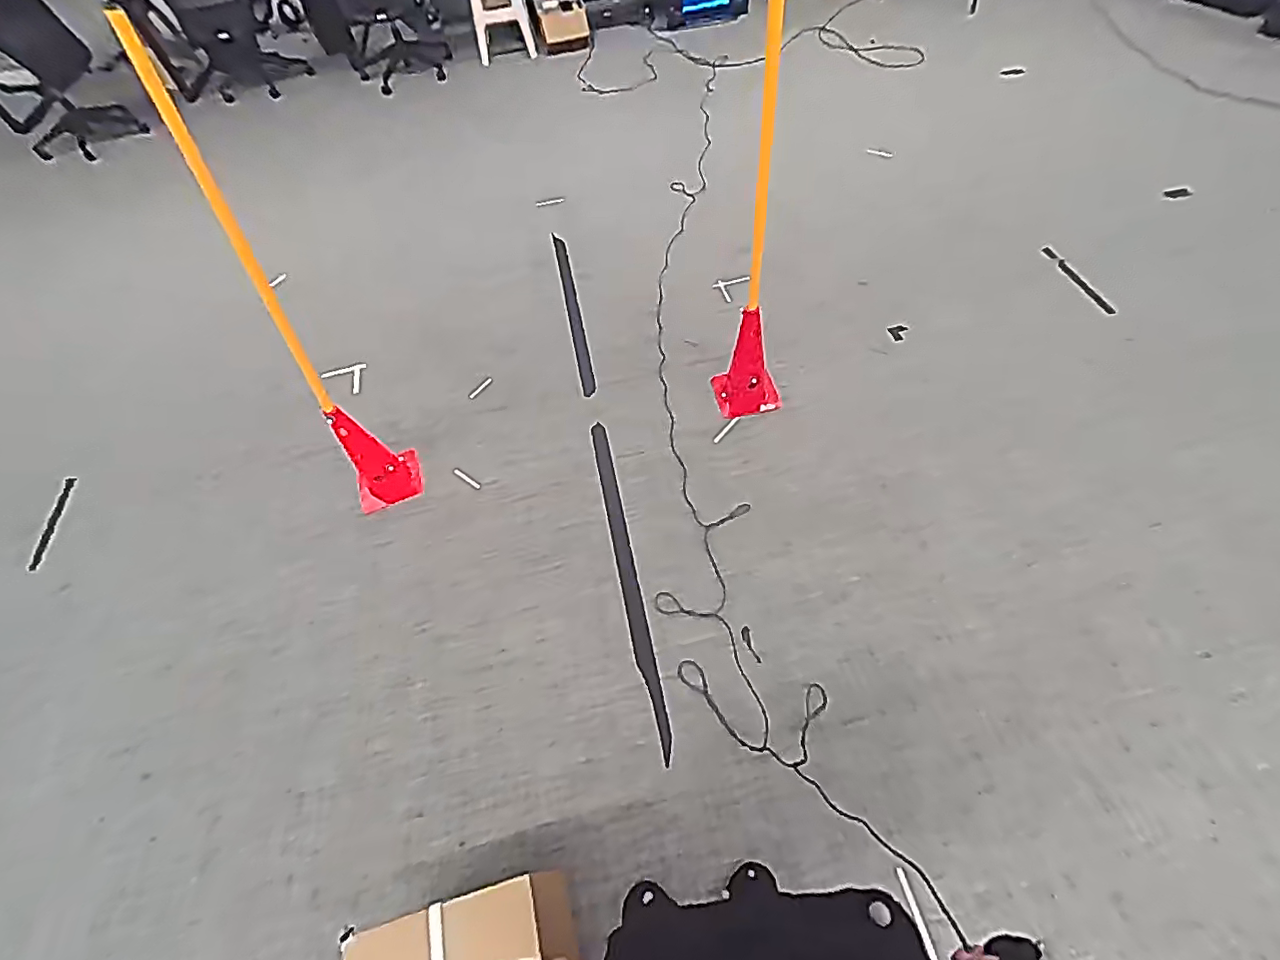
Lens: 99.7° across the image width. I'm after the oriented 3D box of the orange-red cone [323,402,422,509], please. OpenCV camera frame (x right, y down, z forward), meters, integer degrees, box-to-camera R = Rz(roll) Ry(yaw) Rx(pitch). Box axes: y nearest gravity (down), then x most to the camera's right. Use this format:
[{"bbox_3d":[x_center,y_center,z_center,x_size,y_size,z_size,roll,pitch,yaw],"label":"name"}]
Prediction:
[{"bbox_3d":[-0.830,-0.100,1.615,0.199,0.360,0.198,-21,56,-6],"label":"orange-red cone"}]
